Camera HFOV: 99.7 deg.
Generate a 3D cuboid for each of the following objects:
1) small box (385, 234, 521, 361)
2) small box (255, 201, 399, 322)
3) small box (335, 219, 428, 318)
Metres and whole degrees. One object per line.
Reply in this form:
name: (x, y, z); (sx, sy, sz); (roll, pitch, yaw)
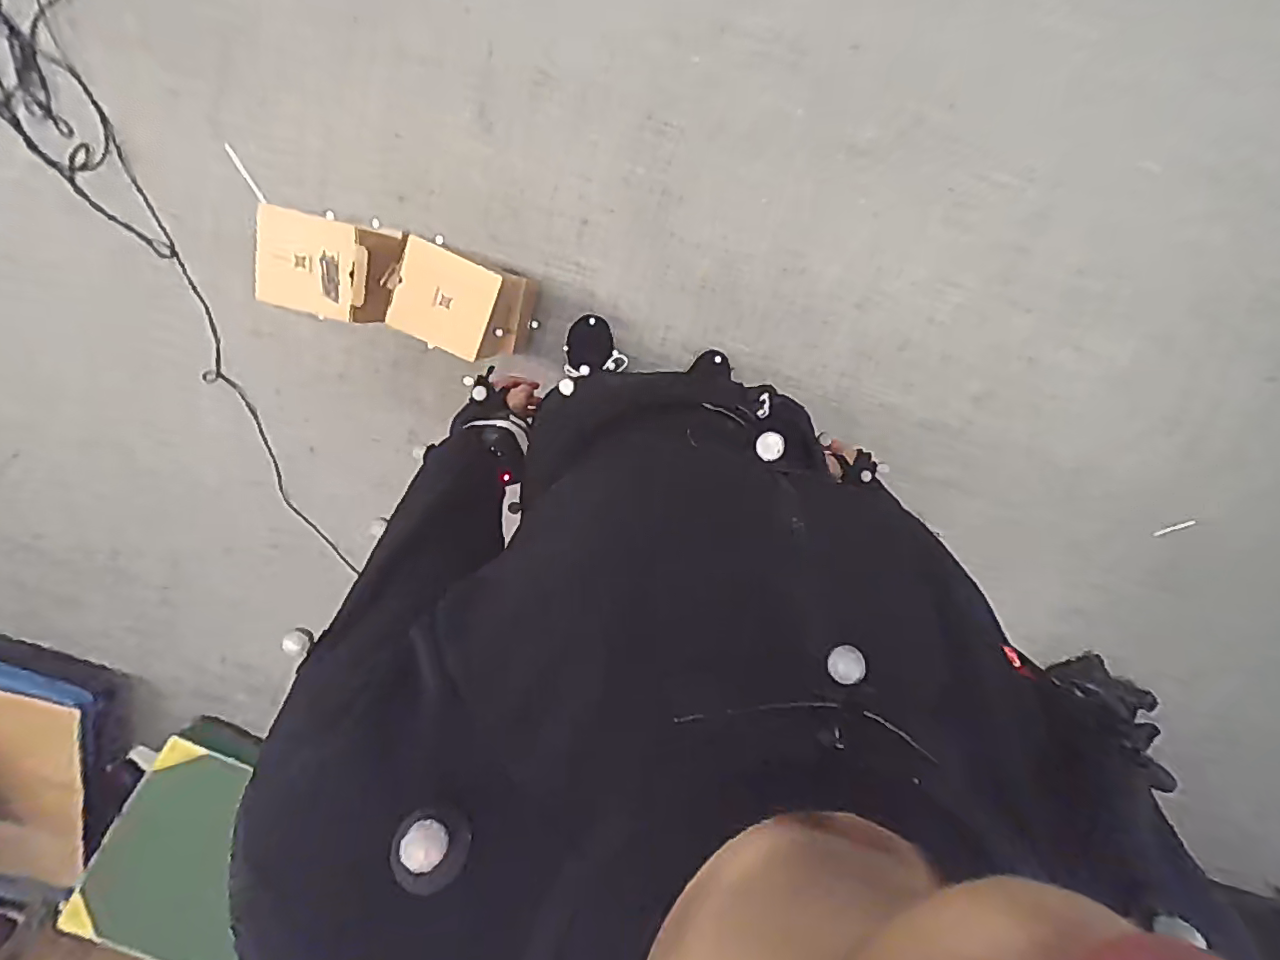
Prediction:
small box: (-0.345, -0.346, 1.032); (0.179, 0.176, 0.168); (23, 107, -5)
small box: (-0.578, -0.401, 1.016); (0.179, 0.176, 0.168); (14, 106, -1)
small box: (-0.561, -0.451, 1.173); (0.168, 0.176, 0.179); (9, 107, -1)
